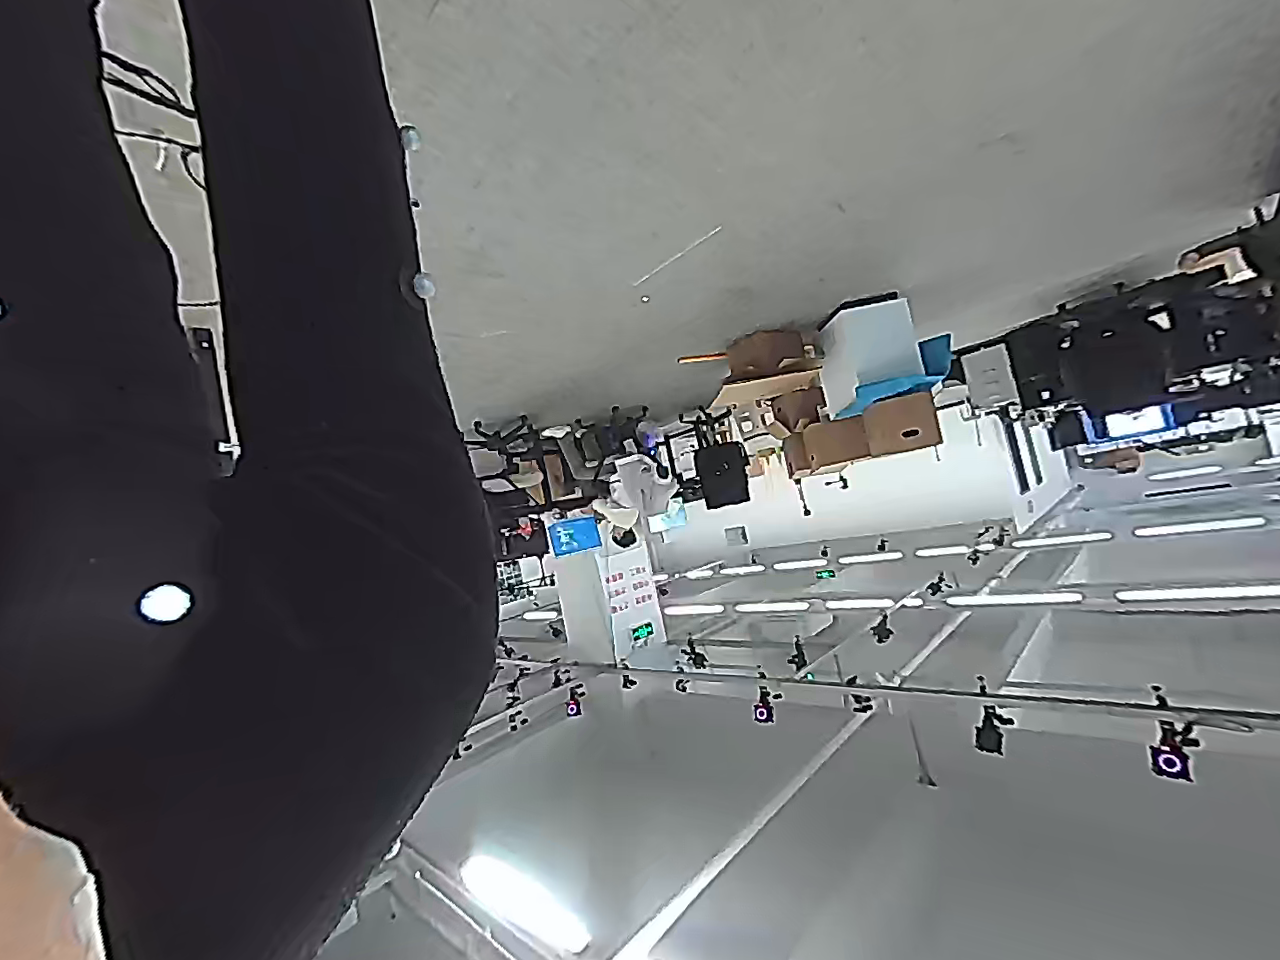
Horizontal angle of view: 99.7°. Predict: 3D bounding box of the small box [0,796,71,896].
[{"bbox_3d":[-1.724,1.019,1.506,0.179,0.176,0.168,-8,177,-45],"label":"small box"}]
